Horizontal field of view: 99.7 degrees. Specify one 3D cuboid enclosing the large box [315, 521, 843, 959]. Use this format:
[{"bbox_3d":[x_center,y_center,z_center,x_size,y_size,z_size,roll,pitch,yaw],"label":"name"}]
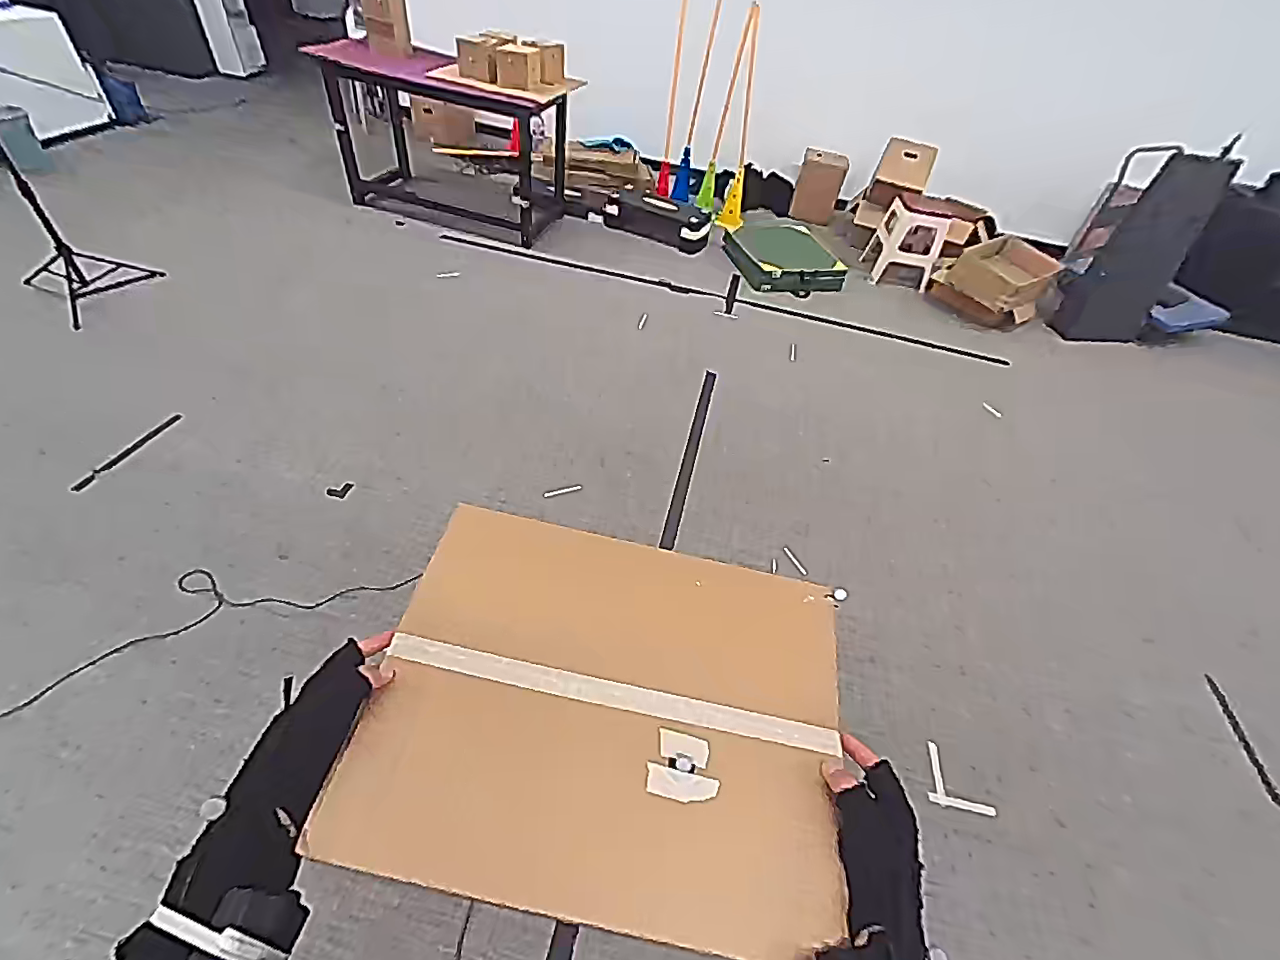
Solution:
[{"bbox_3d":[-0.041,0.290,0.599,0.408,0.320,0.320,13,53,0],"label":"large box"}]
